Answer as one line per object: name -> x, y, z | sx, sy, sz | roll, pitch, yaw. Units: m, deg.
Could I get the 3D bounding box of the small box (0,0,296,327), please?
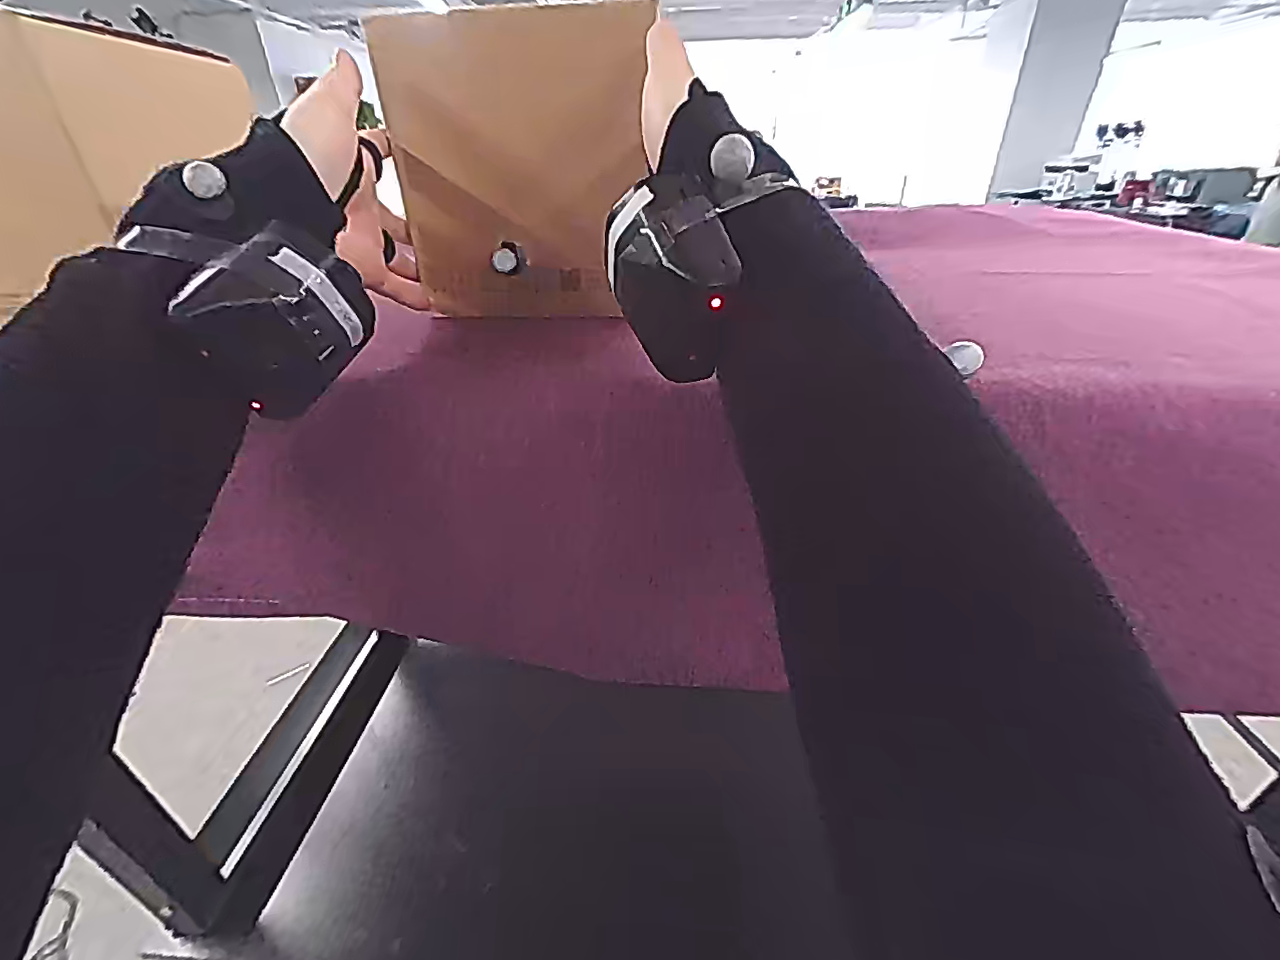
small box -> -0.387, -0.216, 0.390 | 0.168, 0.176, 0.179 | 0, 30, 3

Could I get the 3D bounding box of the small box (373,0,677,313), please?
small box -> -0.059, -0.228, 0.400 | 0.168, 0.176, 0.179 | 1, 30, 5
